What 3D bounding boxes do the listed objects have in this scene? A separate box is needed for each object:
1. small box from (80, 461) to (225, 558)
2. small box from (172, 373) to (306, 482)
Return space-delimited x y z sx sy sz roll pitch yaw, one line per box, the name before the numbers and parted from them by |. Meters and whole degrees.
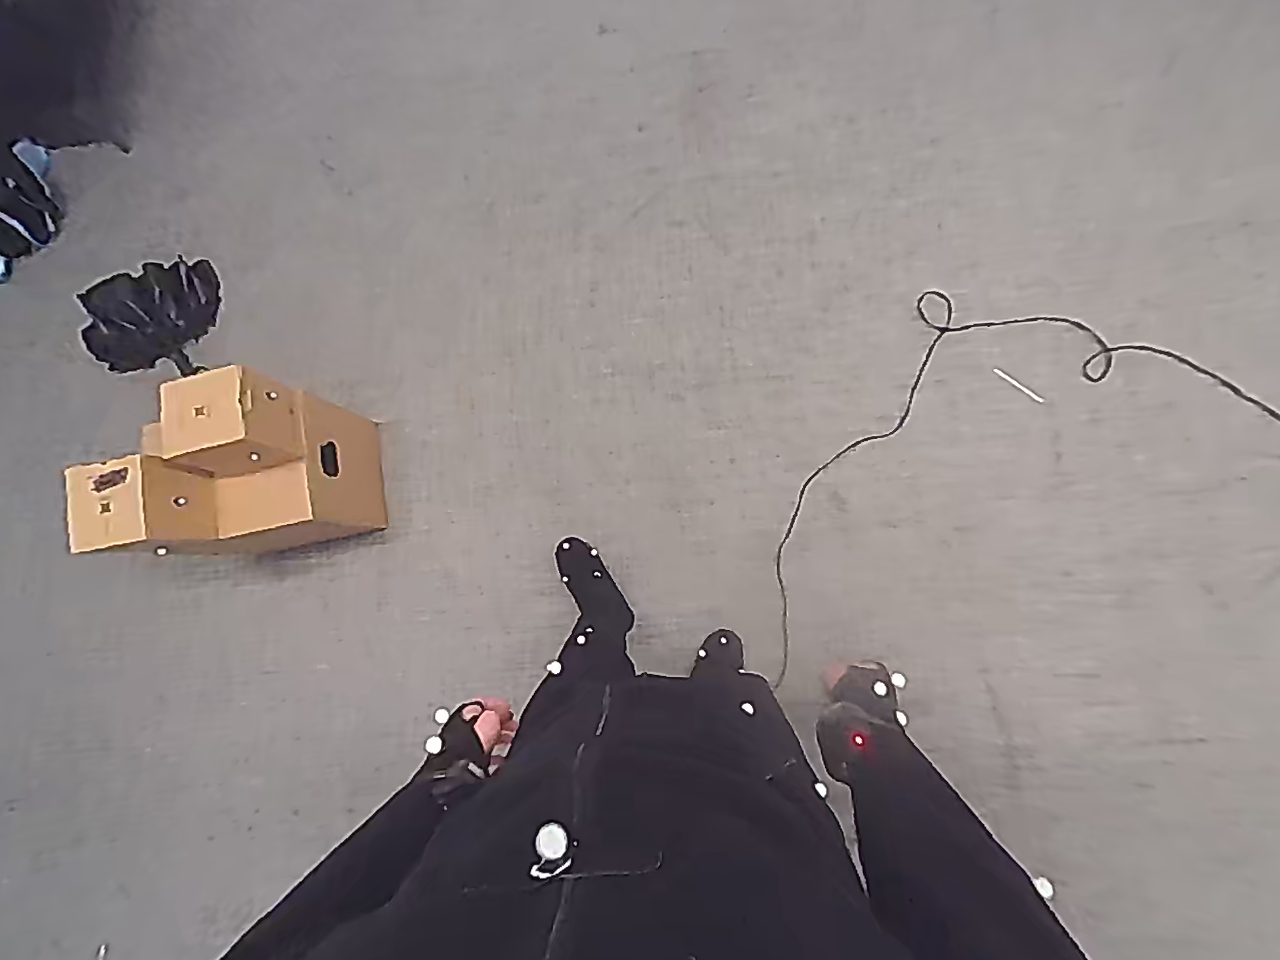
small box | -1.035 0.069 1.159 0.168 0.176 0.179 -11 83 4
small box | -0.855 -0.106 1.171 0.179 0.176 0.168 -15 76 4
